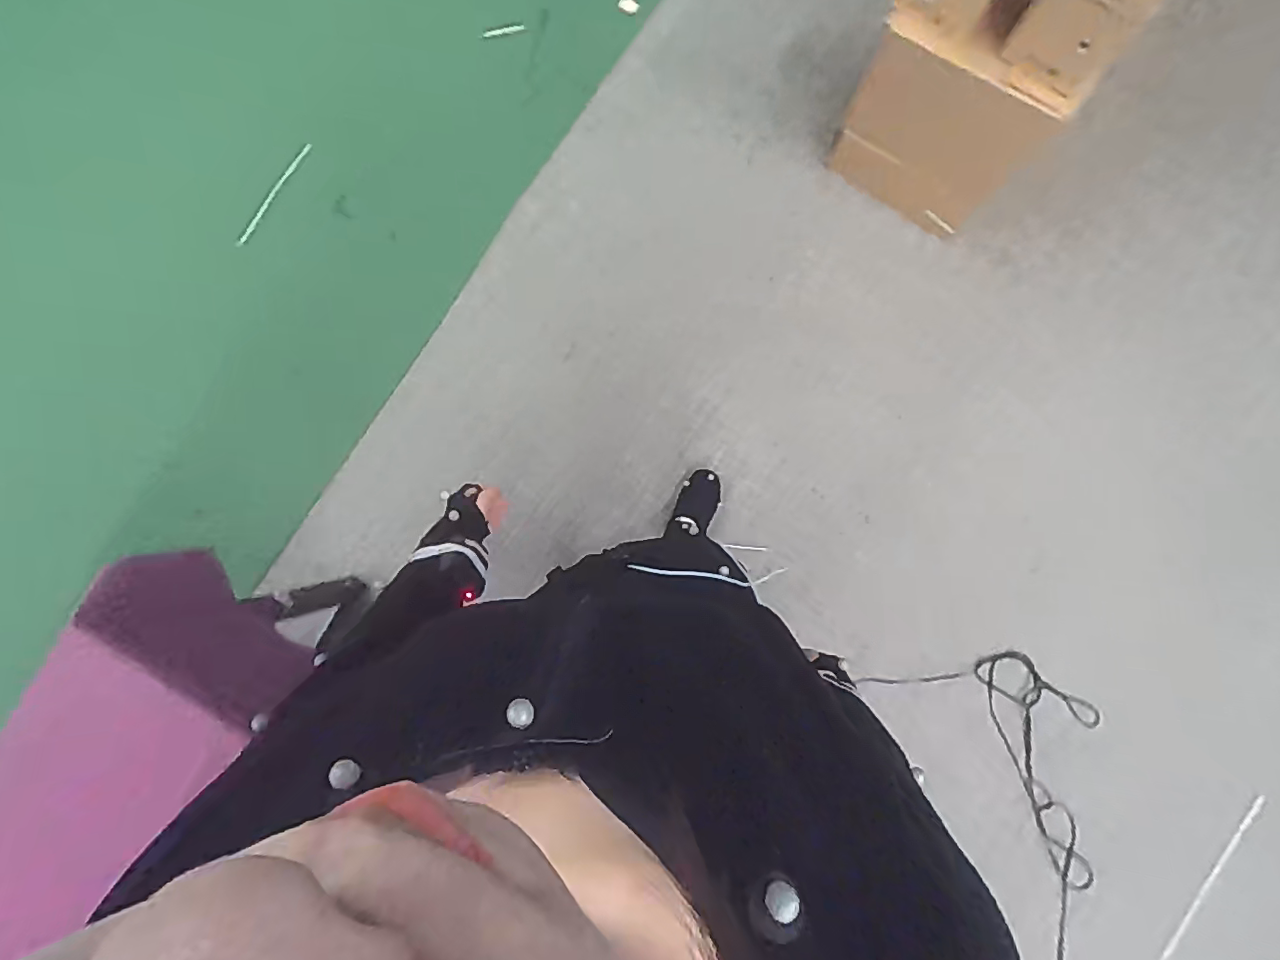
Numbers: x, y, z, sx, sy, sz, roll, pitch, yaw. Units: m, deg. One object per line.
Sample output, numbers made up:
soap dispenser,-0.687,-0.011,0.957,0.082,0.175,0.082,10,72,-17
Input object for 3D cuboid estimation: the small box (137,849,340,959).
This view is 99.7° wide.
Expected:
small box,-0.537,0.644,0.703,0.168,0.176,0.179,33,90,4

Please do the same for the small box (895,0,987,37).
small box,0.604,-0.982,0.985,0.168,0.176,0.179,34,91,3

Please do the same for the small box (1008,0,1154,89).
small box,0.807,-0.861,0.966,0.168,0.176,0.179,37,89,5
